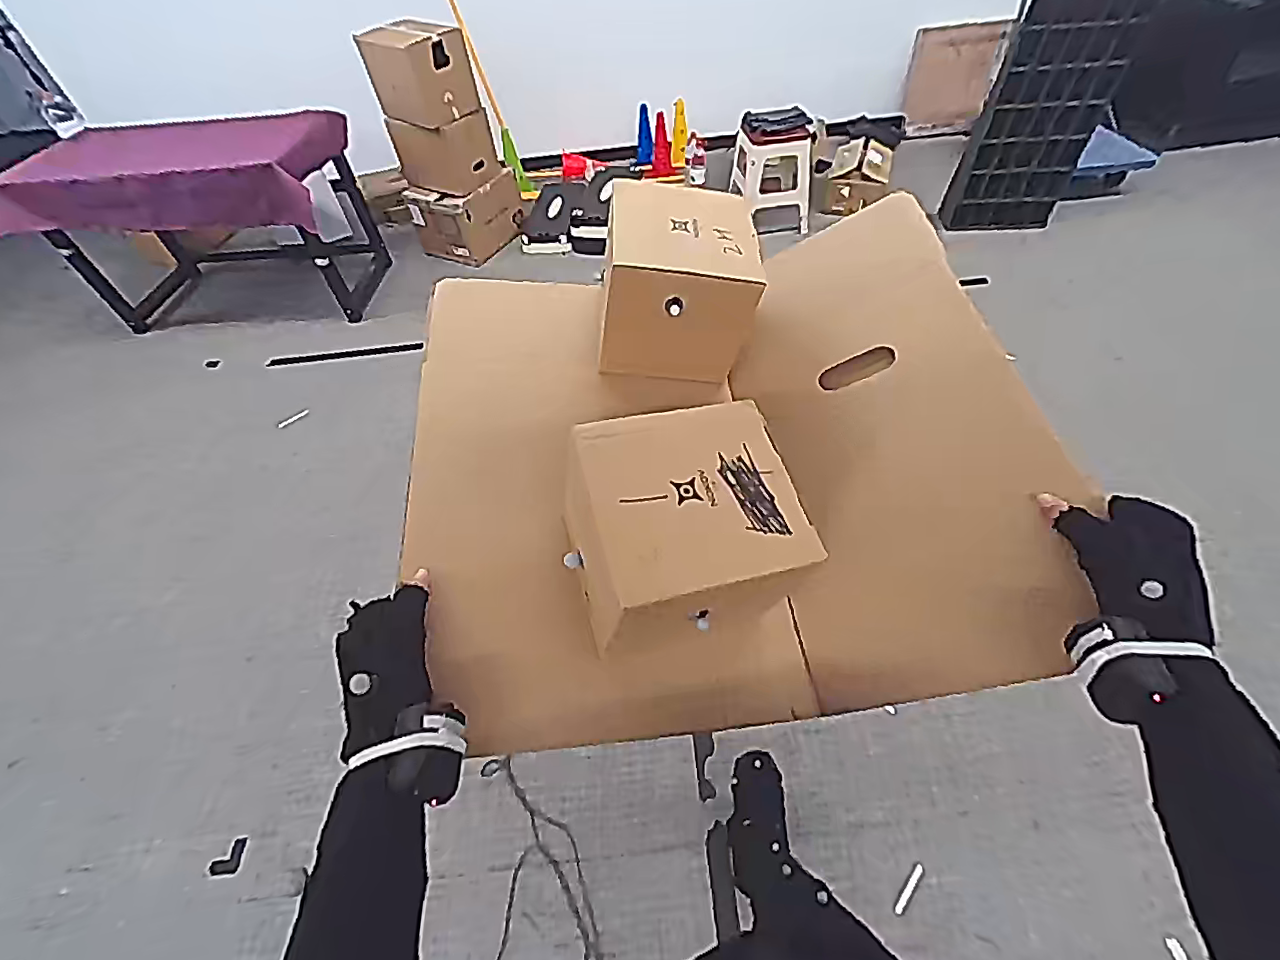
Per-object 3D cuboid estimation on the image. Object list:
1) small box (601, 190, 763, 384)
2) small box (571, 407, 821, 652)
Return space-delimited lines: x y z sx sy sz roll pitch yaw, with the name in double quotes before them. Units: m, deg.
"small box" 0.042 -0.245 0.711 0.179 0.176 0.168 5 58 -9
"small box" 0.036 0.052 0.528 0.179 0.176 0.168 -10 62 -15
